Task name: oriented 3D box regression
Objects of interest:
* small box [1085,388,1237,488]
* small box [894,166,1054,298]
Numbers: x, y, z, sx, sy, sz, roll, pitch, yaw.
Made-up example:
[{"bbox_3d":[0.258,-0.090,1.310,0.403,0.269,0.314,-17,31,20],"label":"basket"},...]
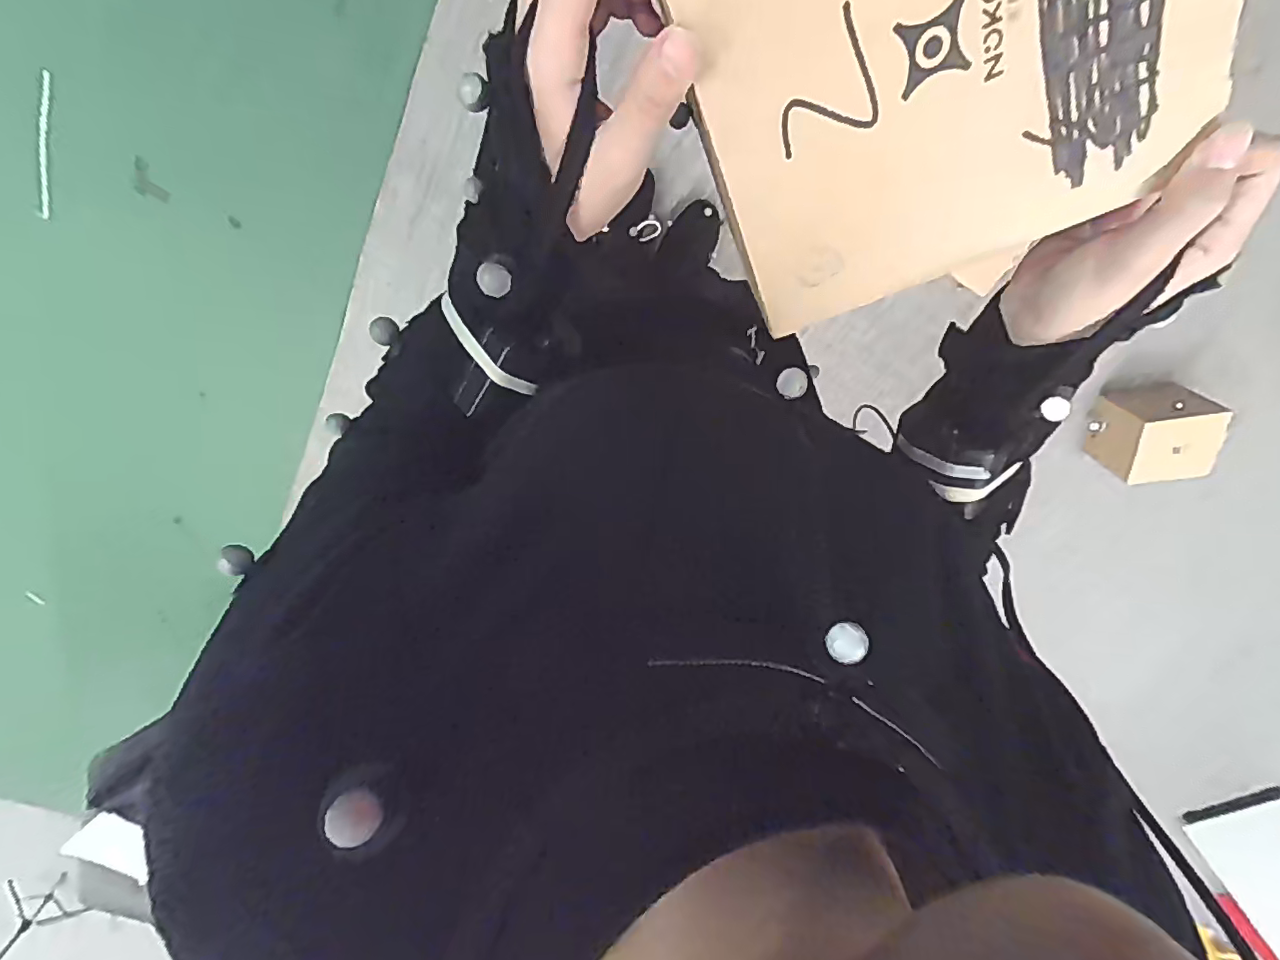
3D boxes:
[{"bbox_3d":[1.208,-0.104,1.271,0.179,0.176,0.168,-8,120,9],"label":"small box"},{"bbox_3d":[0.641,-0.490,1.065,0.179,0.176,0.168,26,119,-13],"label":"small box"}]
